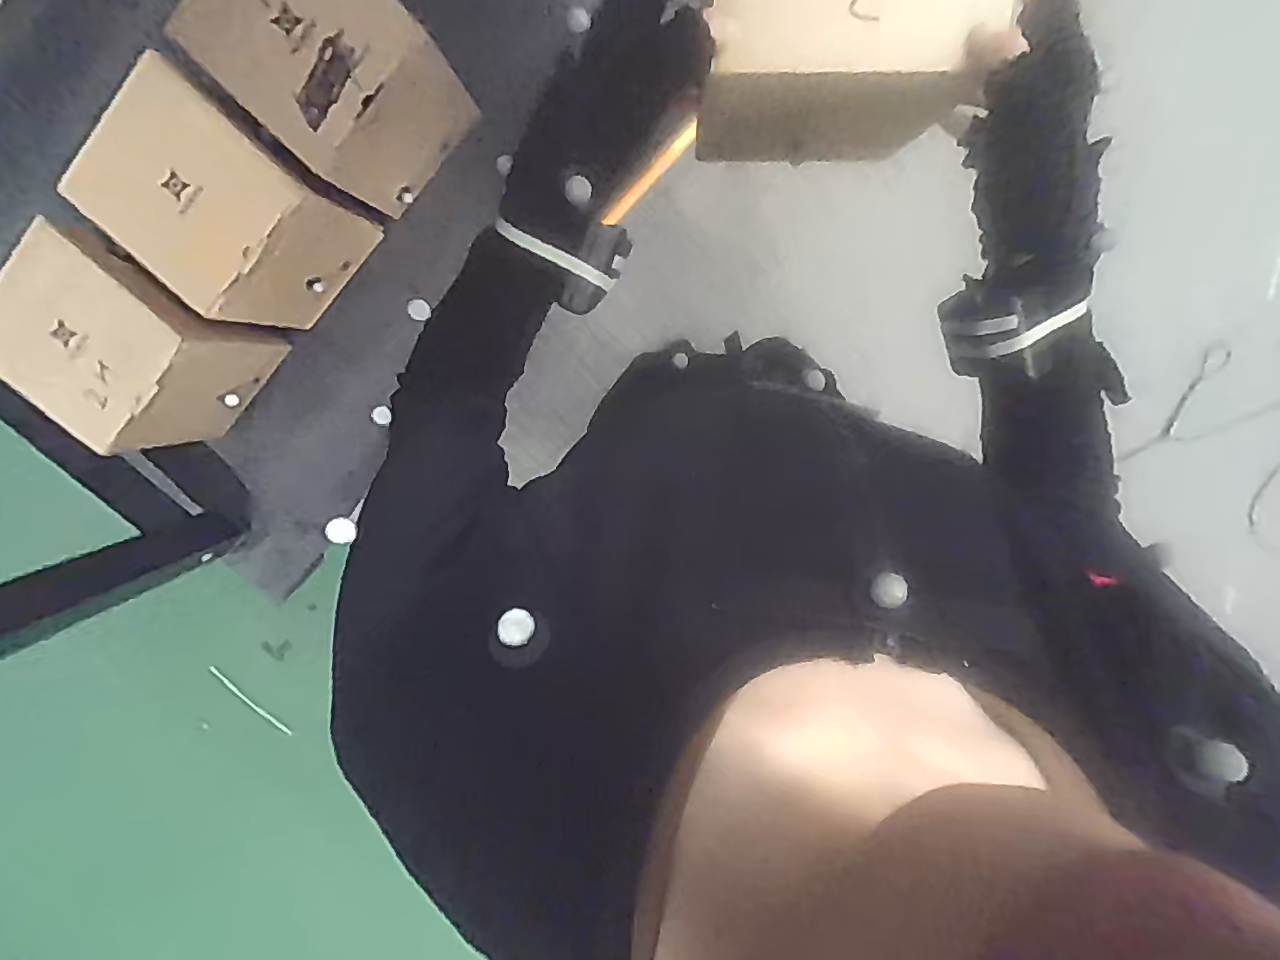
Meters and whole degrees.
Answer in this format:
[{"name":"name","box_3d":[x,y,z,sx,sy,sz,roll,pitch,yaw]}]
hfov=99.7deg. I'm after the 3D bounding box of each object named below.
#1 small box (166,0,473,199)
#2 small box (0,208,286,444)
[{"name":"small box","box_3d":[-0.307,-0.424,0.560,0.179,0.176,0.168,44,99,-7]},{"name":"small box","box_3d":[-0.570,-0.164,0.621,0.179,0.176,0.168,43,100,-7]}]
